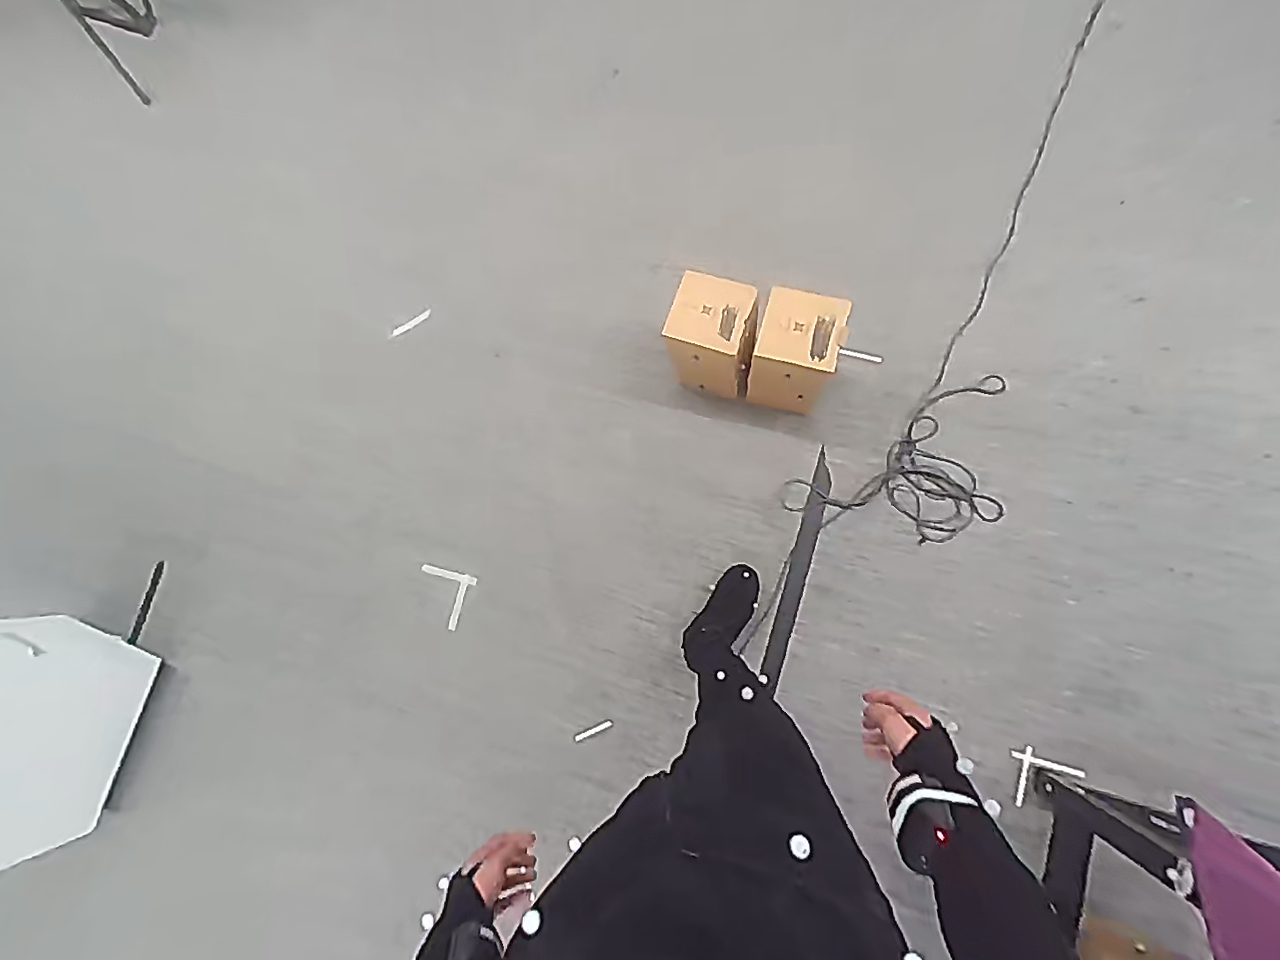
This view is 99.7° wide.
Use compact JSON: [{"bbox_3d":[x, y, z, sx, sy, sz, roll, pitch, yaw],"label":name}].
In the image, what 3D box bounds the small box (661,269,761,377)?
[{"bbox_3d":[0.170,-0.356,1.256,0.179,0.176,0.168,20,85,14],"label":"small box"}]
